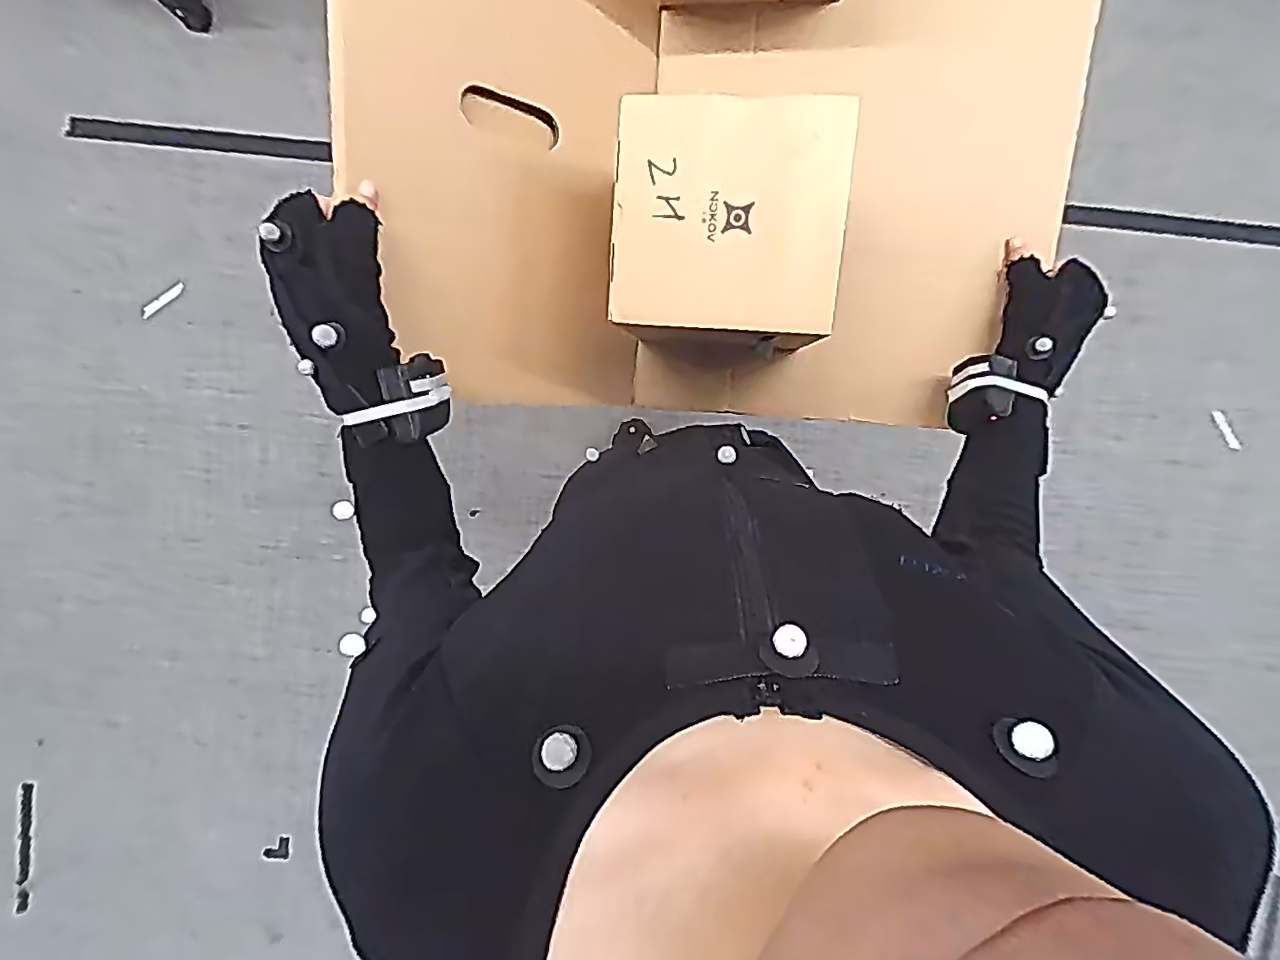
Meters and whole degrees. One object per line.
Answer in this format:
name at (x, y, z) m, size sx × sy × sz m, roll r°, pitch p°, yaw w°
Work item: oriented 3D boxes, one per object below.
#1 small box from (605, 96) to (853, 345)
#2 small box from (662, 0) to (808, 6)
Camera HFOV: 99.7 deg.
small box at (0.074, -0.217, 0.493) m, size 0.179 × 0.176 × 0.168 m, roll 6°, pitch 100°, yaw 8°
small box at (0.092, -0.529, 0.436) m, size 0.179 × 0.176 × 0.168 m, roll 4°, pitch 101°, yaw 7°
